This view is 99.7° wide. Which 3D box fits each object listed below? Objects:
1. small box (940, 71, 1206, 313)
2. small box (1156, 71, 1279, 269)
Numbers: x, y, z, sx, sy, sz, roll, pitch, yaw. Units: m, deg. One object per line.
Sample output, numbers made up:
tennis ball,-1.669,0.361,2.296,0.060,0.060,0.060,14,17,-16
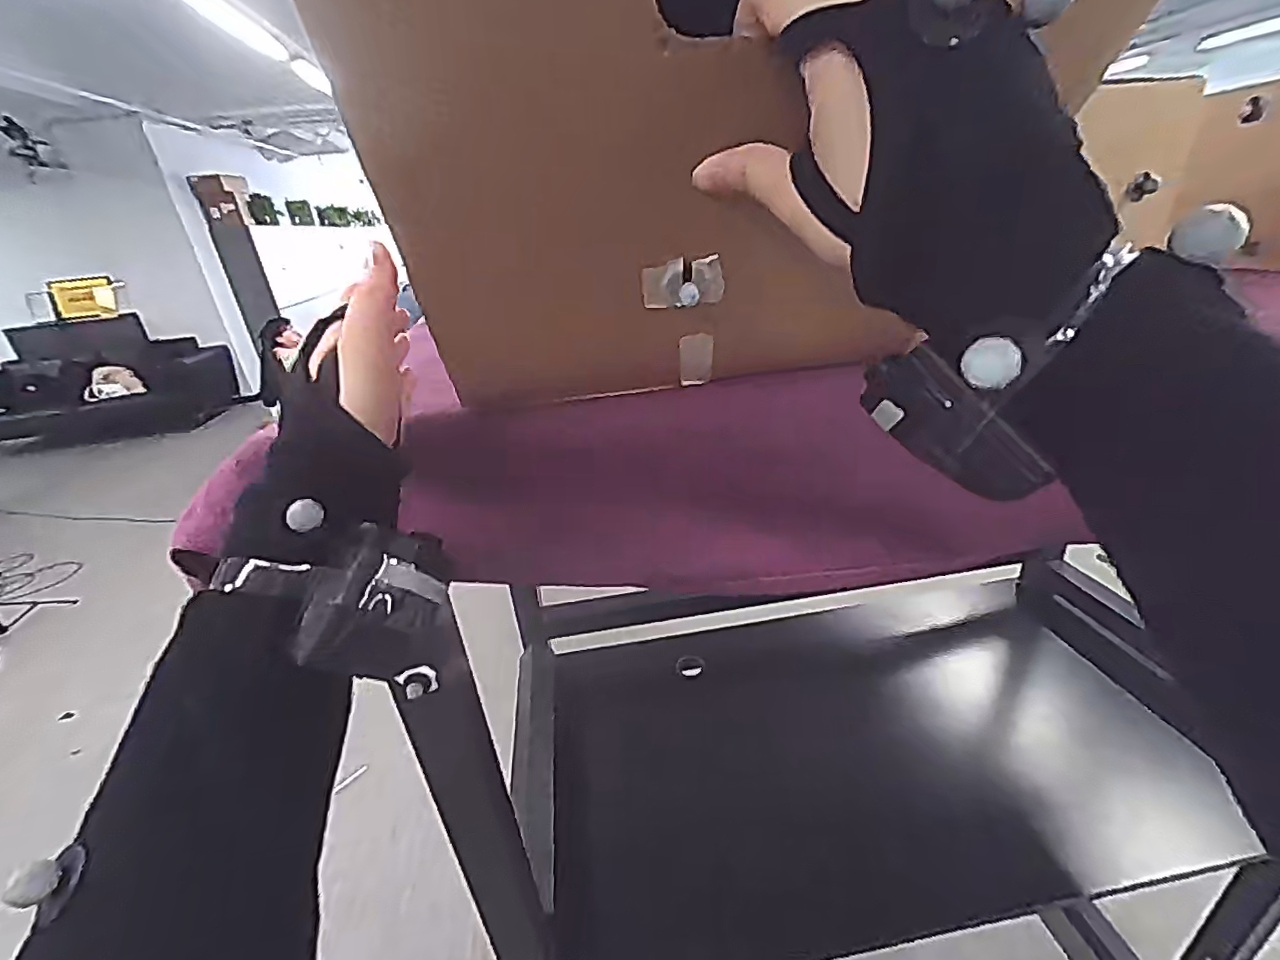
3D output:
small box,0.357,-0.266,0.519,0.179,0.176,0.168,-11,25,-10
small box,0.678,-0.309,0.532,0.179,0.176,0.168,-8,25,-5
